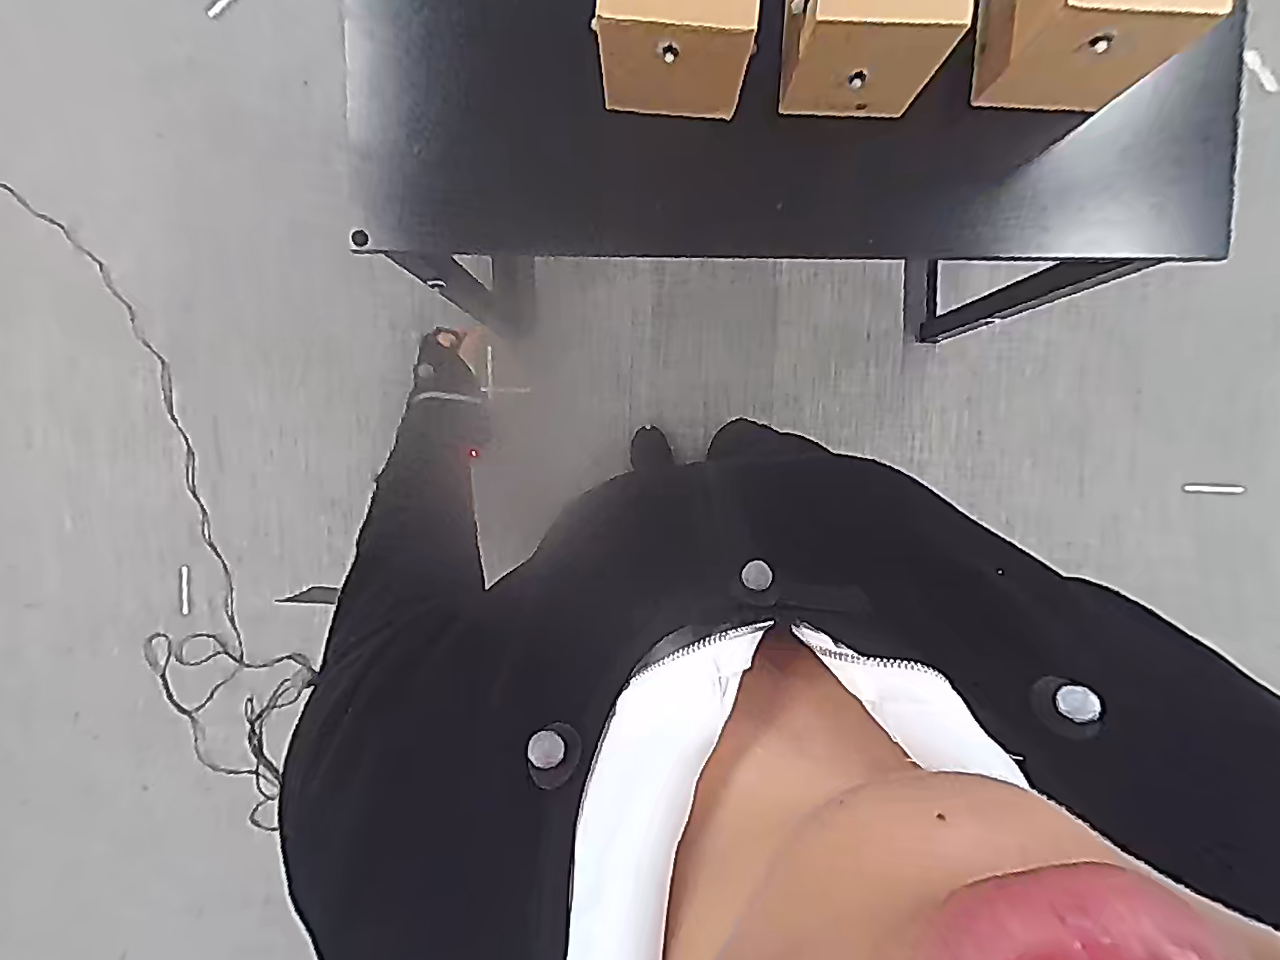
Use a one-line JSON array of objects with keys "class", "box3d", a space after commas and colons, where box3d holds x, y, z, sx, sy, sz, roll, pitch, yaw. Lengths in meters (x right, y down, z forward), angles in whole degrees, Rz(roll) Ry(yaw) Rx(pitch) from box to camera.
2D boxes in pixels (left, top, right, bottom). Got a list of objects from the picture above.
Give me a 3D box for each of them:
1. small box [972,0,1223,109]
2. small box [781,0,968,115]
[{"class": "small box", "box3d": [0.536, -0.581, 0.650, 0.179, 0.176, 0.168, 3, 94, 0]}, {"class": "small box", "box3d": [0.275, -0.579, 0.655, 0.168, 0.176, 0.179, 3, 94, 1]}]
